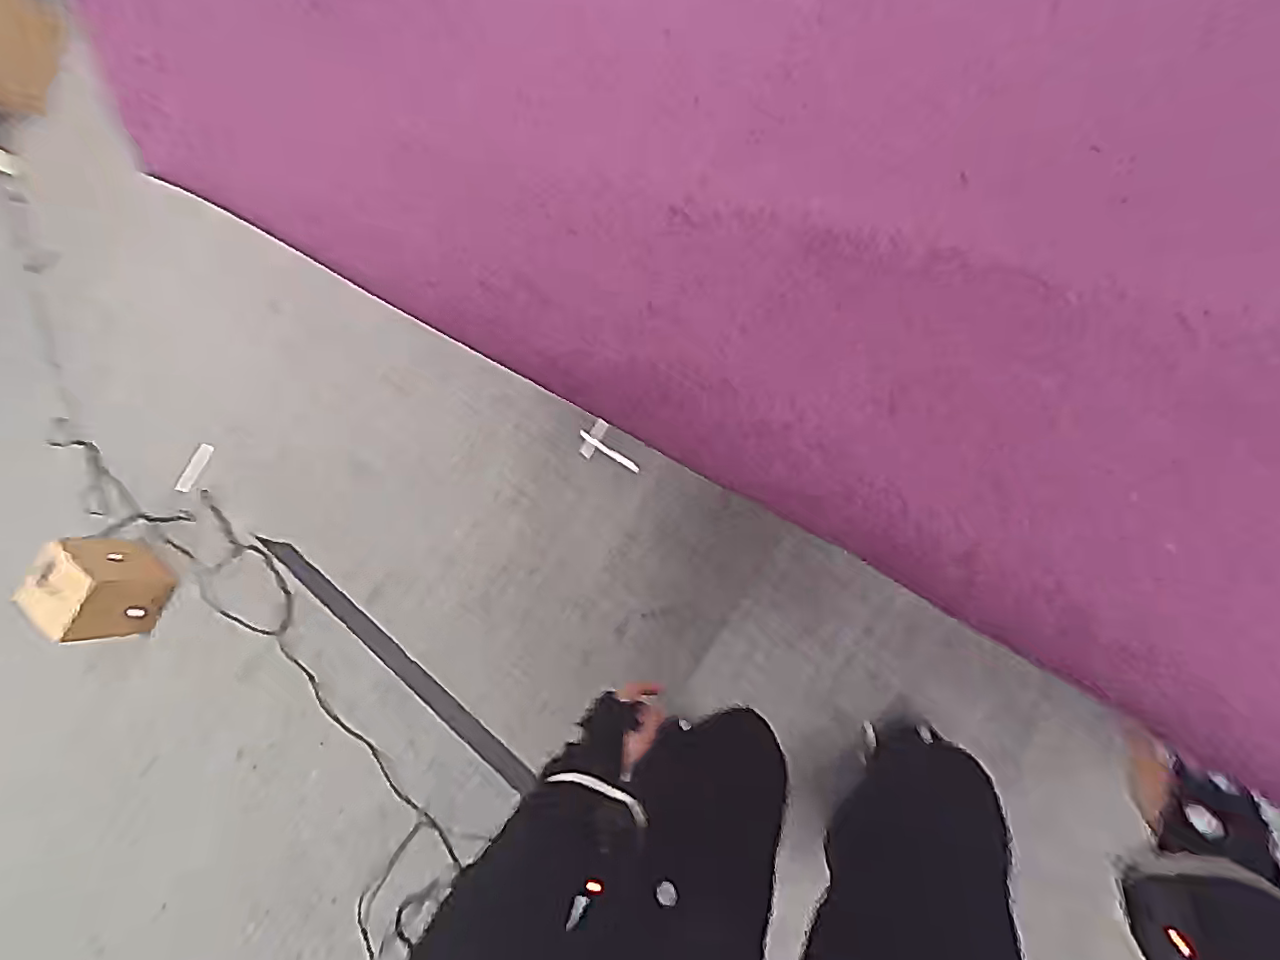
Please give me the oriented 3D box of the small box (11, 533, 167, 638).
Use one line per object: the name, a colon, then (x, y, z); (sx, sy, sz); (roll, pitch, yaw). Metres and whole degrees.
small box: (-1.268, 0.240, 1.254); (0.179, 0.176, 0.168); (33, 92, 16)
